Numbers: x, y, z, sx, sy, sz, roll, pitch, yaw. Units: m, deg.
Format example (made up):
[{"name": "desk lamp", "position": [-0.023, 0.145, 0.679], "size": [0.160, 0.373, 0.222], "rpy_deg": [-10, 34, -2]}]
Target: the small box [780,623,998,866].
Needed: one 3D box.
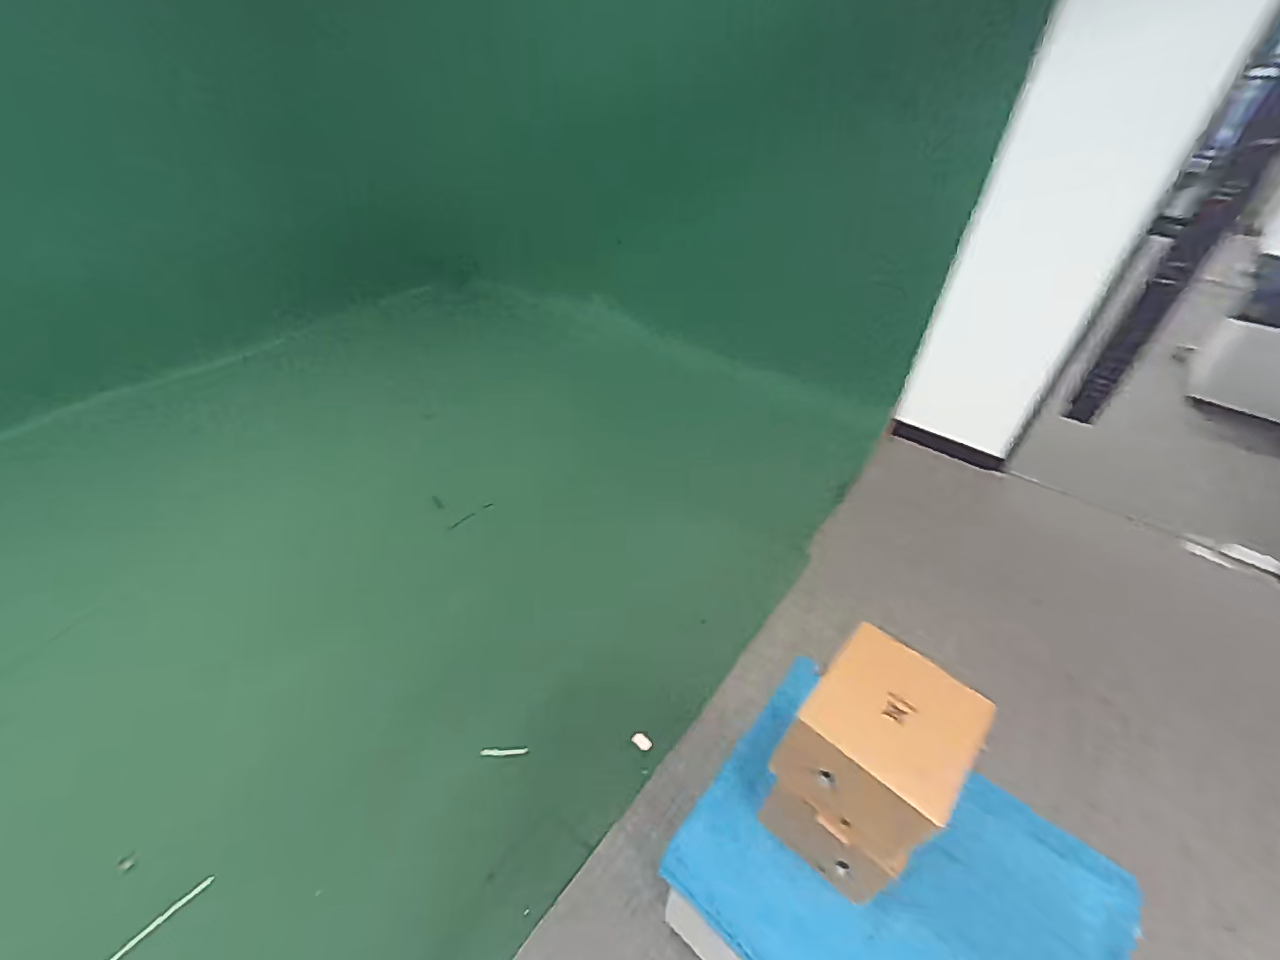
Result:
[{"name": "small box", "position": [0.290, 0.321, 0.661], "size": [0.168, 0.176, 0.179], "rpy_deg": [33, 49, 29]}]

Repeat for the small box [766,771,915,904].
[{"name": "small box", "position": [0.295, 0.447, 0.764], "size": [0.168, 0.176, 0.179], "rpy_deg": [33, 50, 28]}]
